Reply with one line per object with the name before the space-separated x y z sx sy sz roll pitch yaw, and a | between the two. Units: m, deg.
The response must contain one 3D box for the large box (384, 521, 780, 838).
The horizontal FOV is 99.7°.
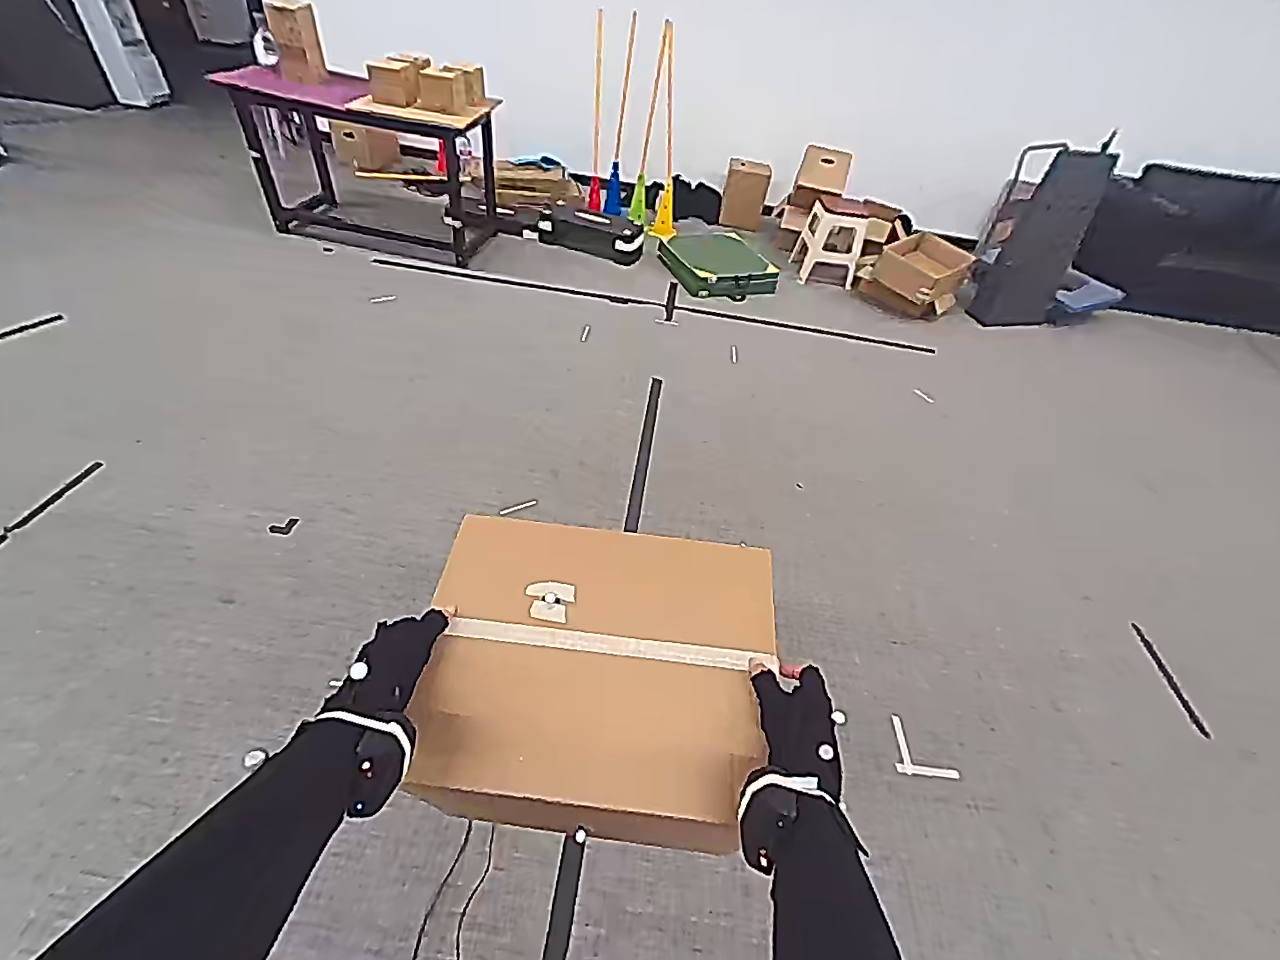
large box | -0.051 0.283 0.742 0.408 0.320 0.320 6 51 2
